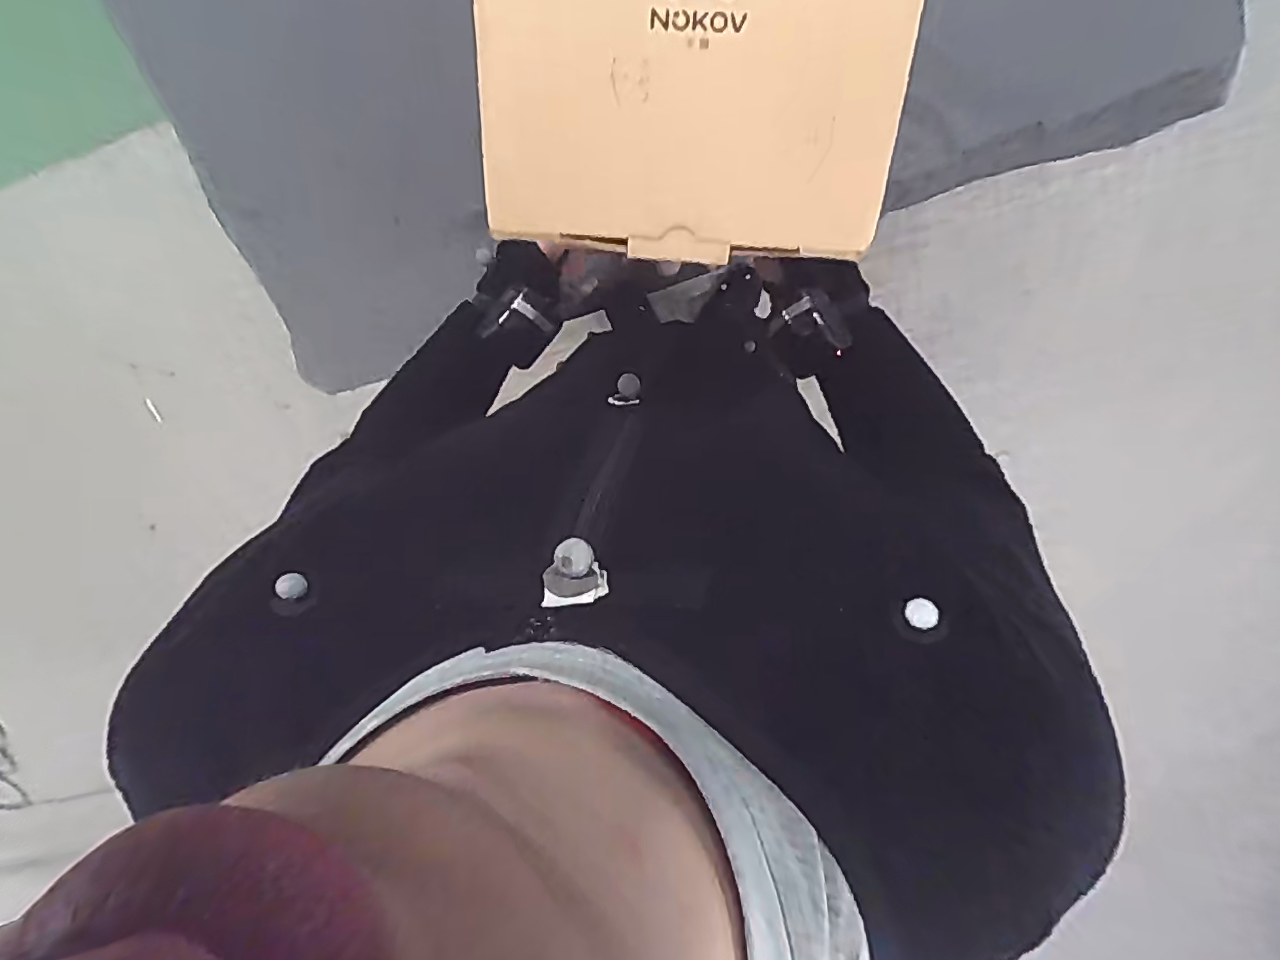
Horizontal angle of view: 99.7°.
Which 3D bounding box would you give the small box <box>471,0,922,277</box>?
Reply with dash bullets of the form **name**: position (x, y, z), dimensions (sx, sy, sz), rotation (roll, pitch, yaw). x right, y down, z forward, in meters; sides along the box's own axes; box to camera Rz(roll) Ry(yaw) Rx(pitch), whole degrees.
- **small box**: position (0.023, -0.207, 0.268), dimensions (0.168, 0.176, 0.179), rotation (4, 116, 0)
